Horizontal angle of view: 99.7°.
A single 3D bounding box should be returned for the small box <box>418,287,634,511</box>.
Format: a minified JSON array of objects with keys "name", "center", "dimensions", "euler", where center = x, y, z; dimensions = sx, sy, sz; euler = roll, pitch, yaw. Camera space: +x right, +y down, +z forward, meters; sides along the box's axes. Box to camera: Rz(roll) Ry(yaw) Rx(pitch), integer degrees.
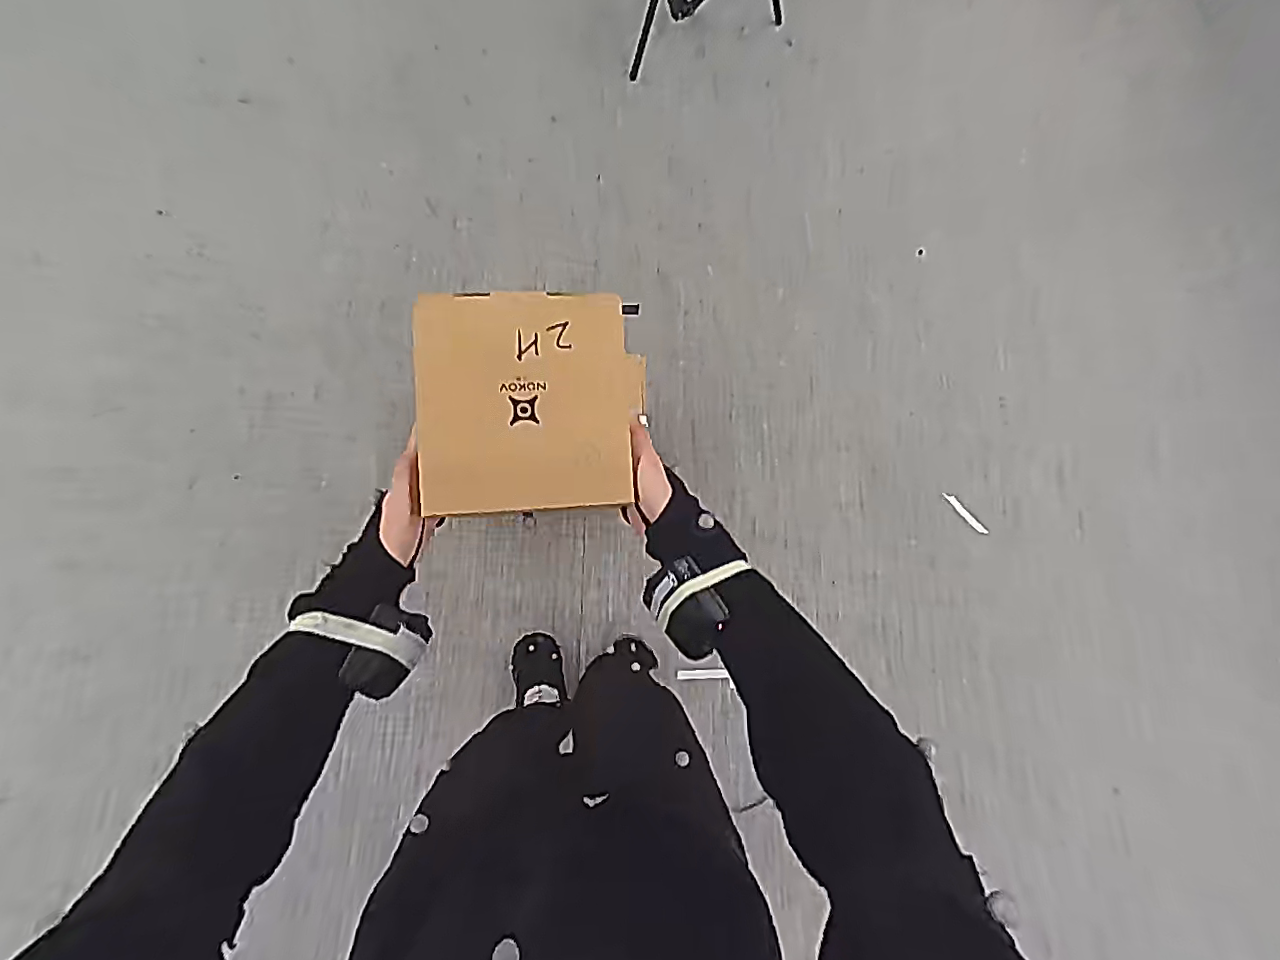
[{"name":"small box","center":[-0.100,-0.062,0.507],"dimensions":[0.168,0.176,0.179],"euler":[-3,86,-10]}]
